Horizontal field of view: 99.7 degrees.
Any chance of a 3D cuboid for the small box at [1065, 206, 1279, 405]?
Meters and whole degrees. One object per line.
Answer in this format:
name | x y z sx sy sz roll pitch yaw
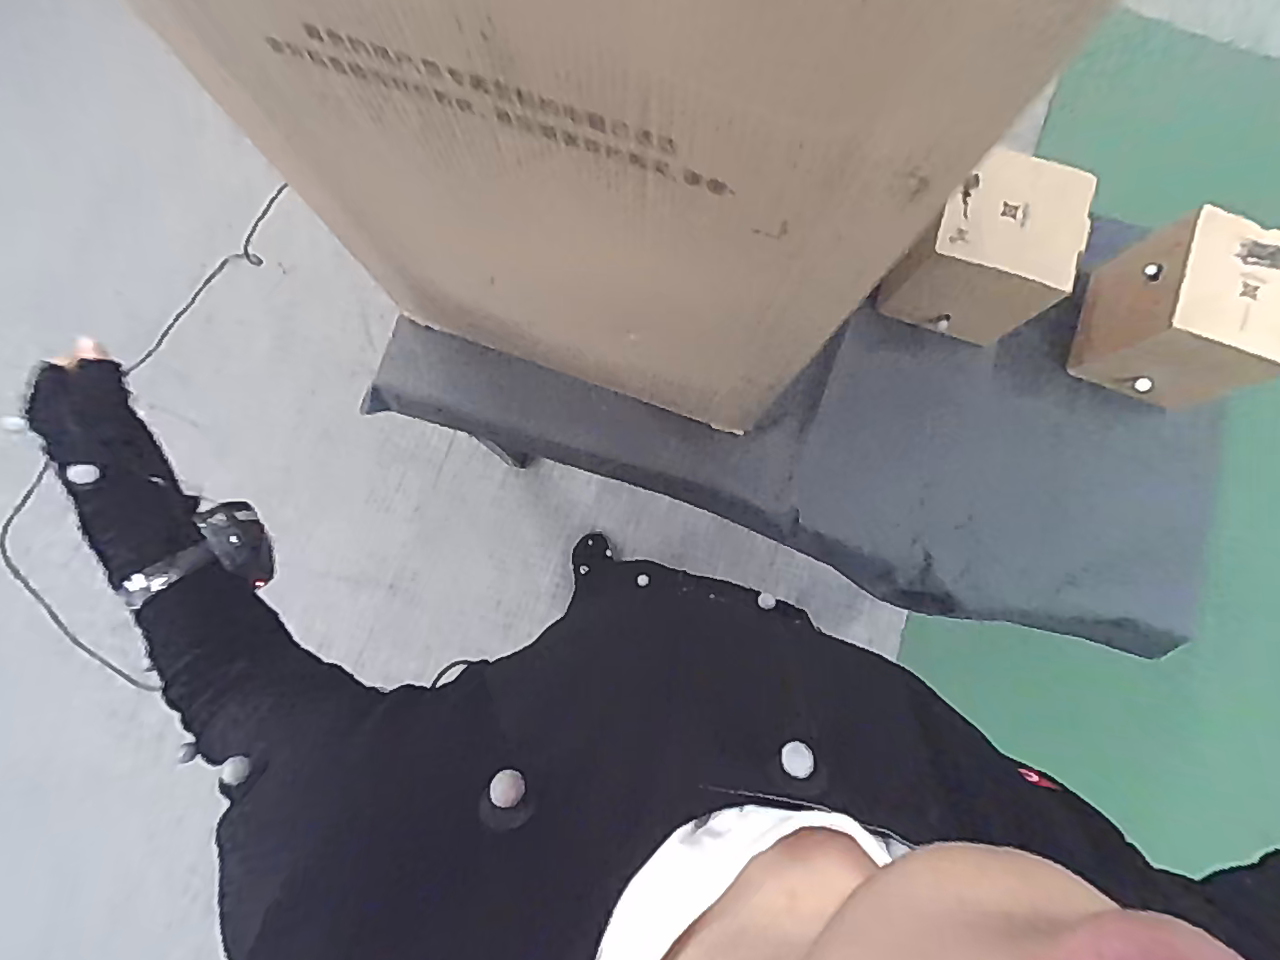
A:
small box | 0.742 -0.228 0.749 0.168 0.176 0.179 21 82 2
